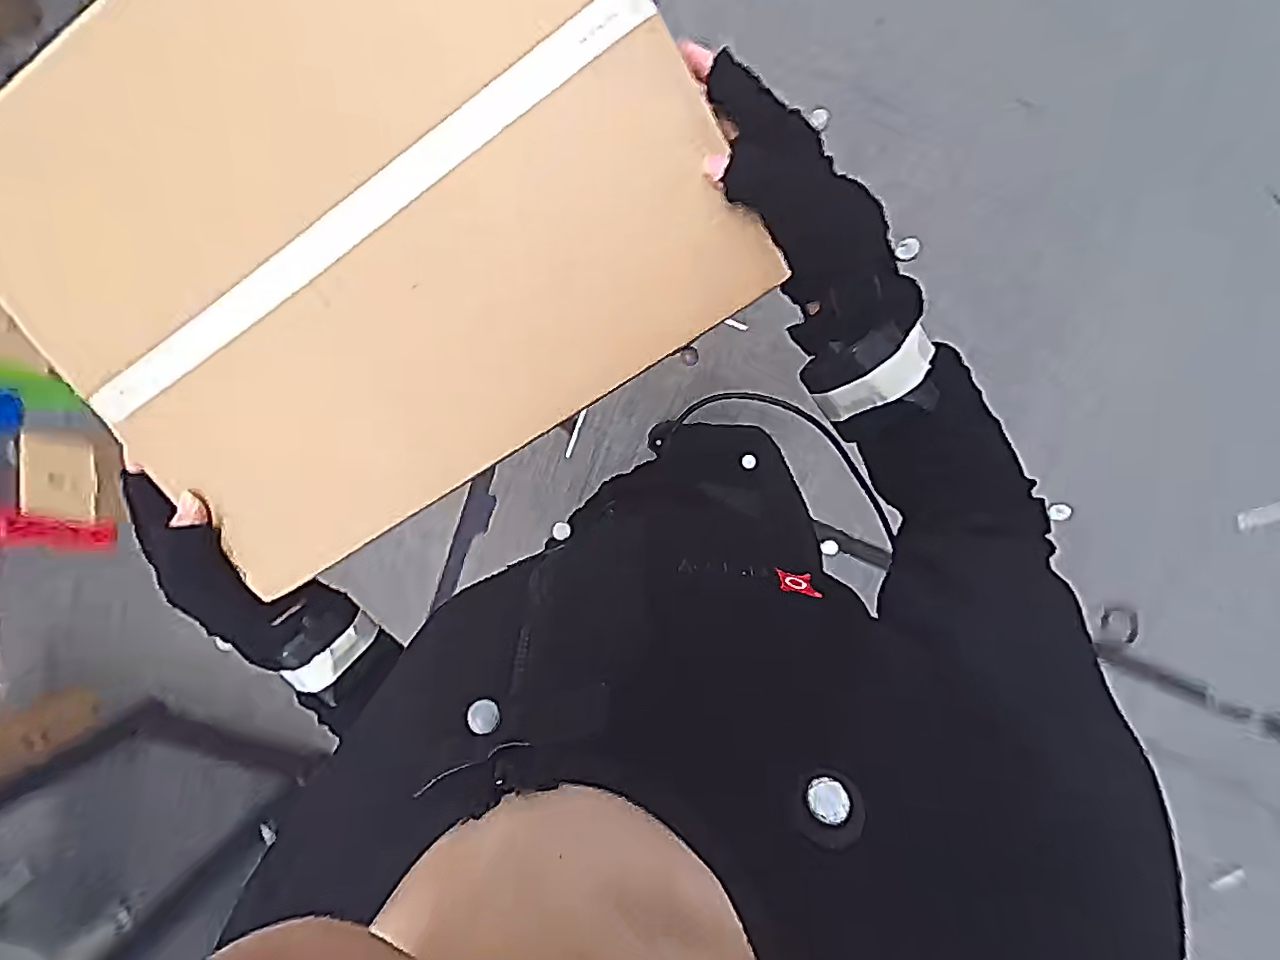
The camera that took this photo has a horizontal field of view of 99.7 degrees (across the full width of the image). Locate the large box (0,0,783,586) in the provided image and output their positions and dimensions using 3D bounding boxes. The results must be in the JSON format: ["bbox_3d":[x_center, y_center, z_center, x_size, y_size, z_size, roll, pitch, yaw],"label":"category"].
[{"bbox_3d":[-0.151,-0.187,0.461,0.408,0.320,0.320,-29,102,11],"label":"large box"}]
